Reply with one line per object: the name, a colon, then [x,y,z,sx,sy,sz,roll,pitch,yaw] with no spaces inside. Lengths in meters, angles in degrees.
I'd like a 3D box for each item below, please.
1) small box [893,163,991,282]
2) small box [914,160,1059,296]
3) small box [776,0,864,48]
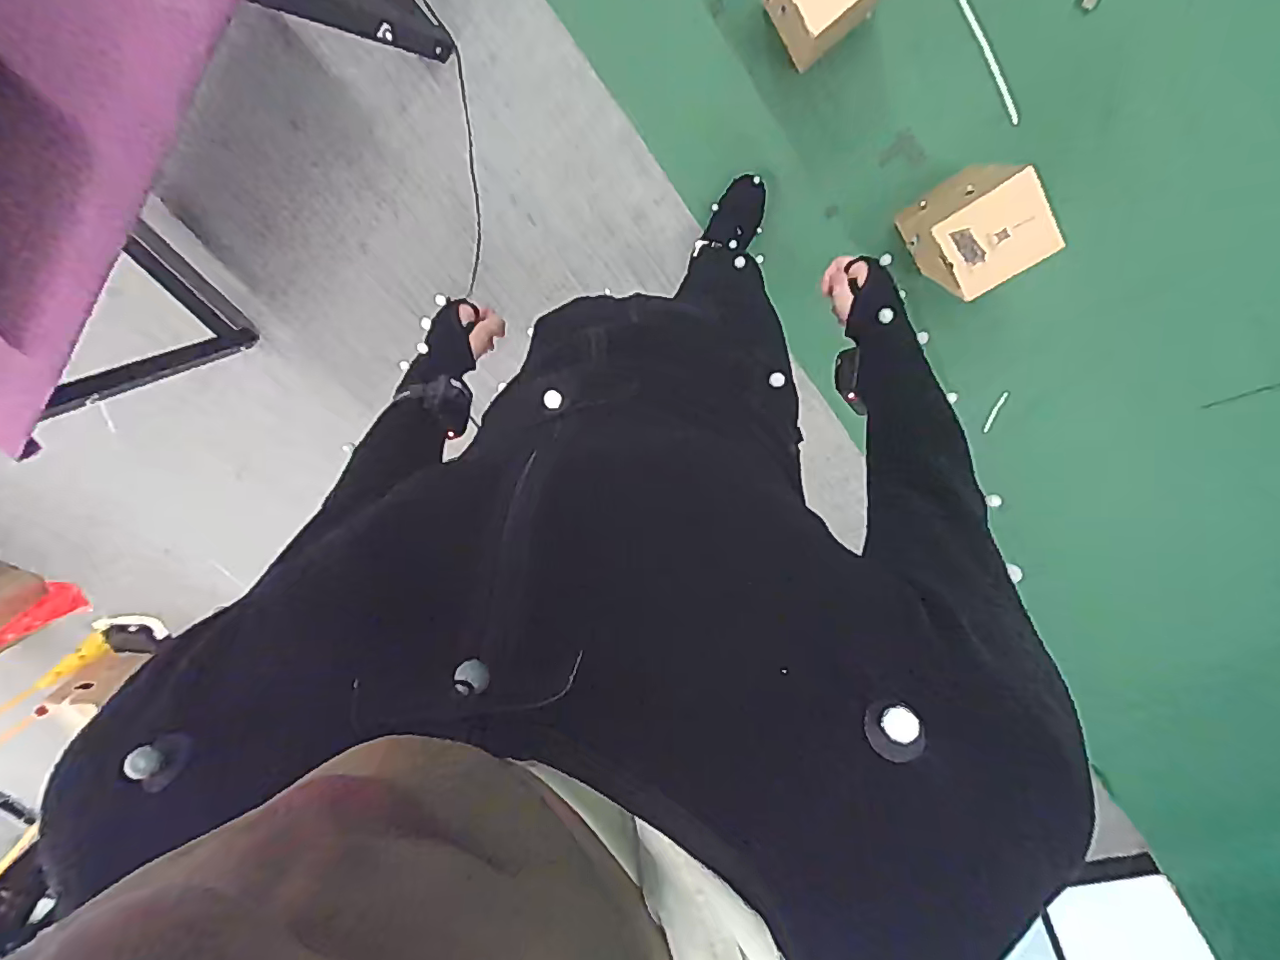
small box: [0.692,-0.574,1.197,0.179,0.176,0.168,-30,110,26]
small box: [0.662,-0.492,1.058,0.179,0.176,0.168,-29,111,25]
small box: [0.318,-0.881,0.906,0.179,0.176,0.168,-29,109,25]
